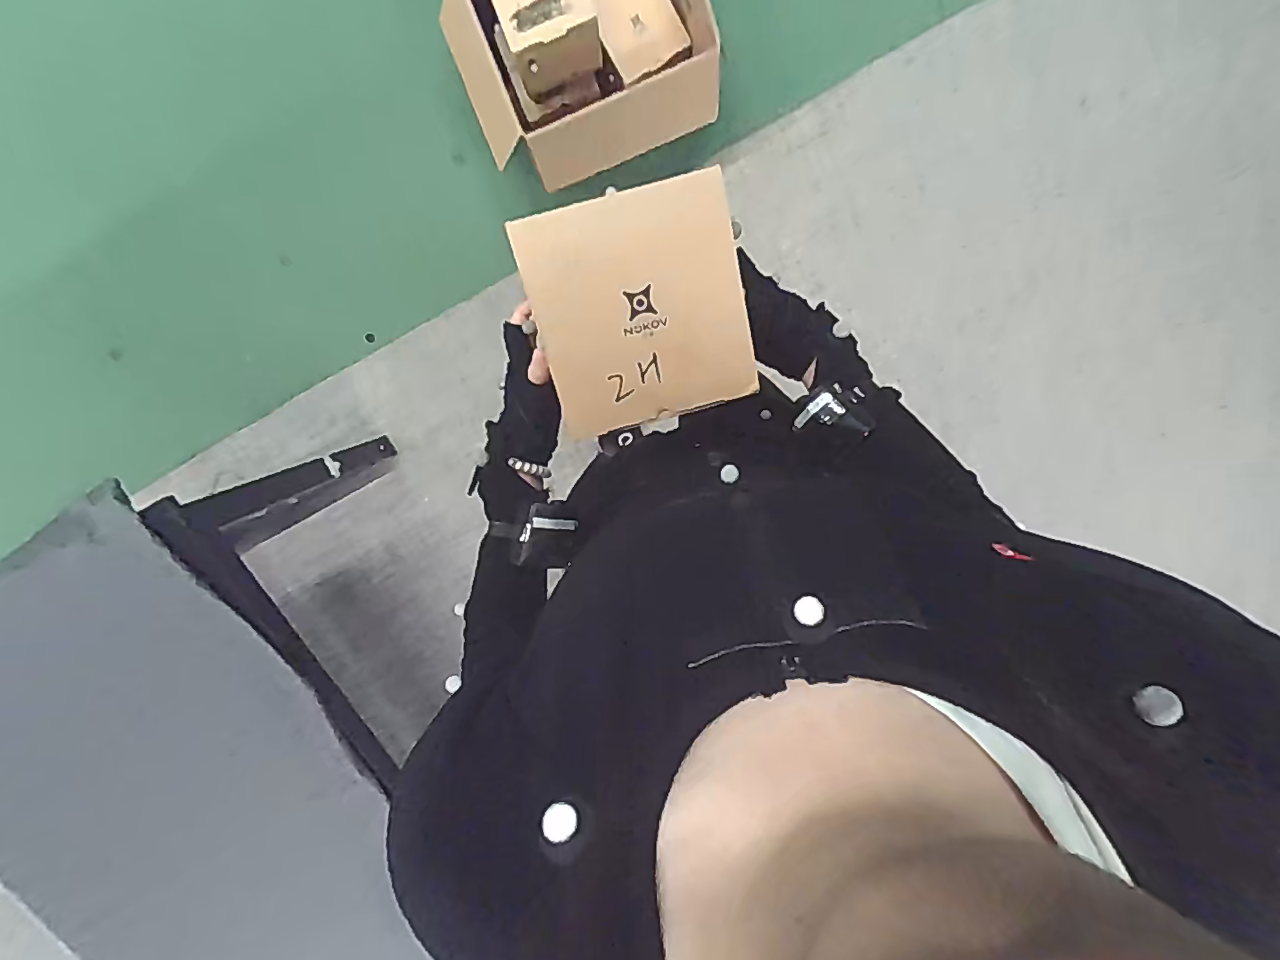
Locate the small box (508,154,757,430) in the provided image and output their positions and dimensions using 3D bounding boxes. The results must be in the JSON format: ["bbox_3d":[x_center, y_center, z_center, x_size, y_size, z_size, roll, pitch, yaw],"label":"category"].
[{"bbox_3d":[-0.007,-0.164,0.494,0.168,0.176,0.179,-15,110,1],"label":"small box"}]
